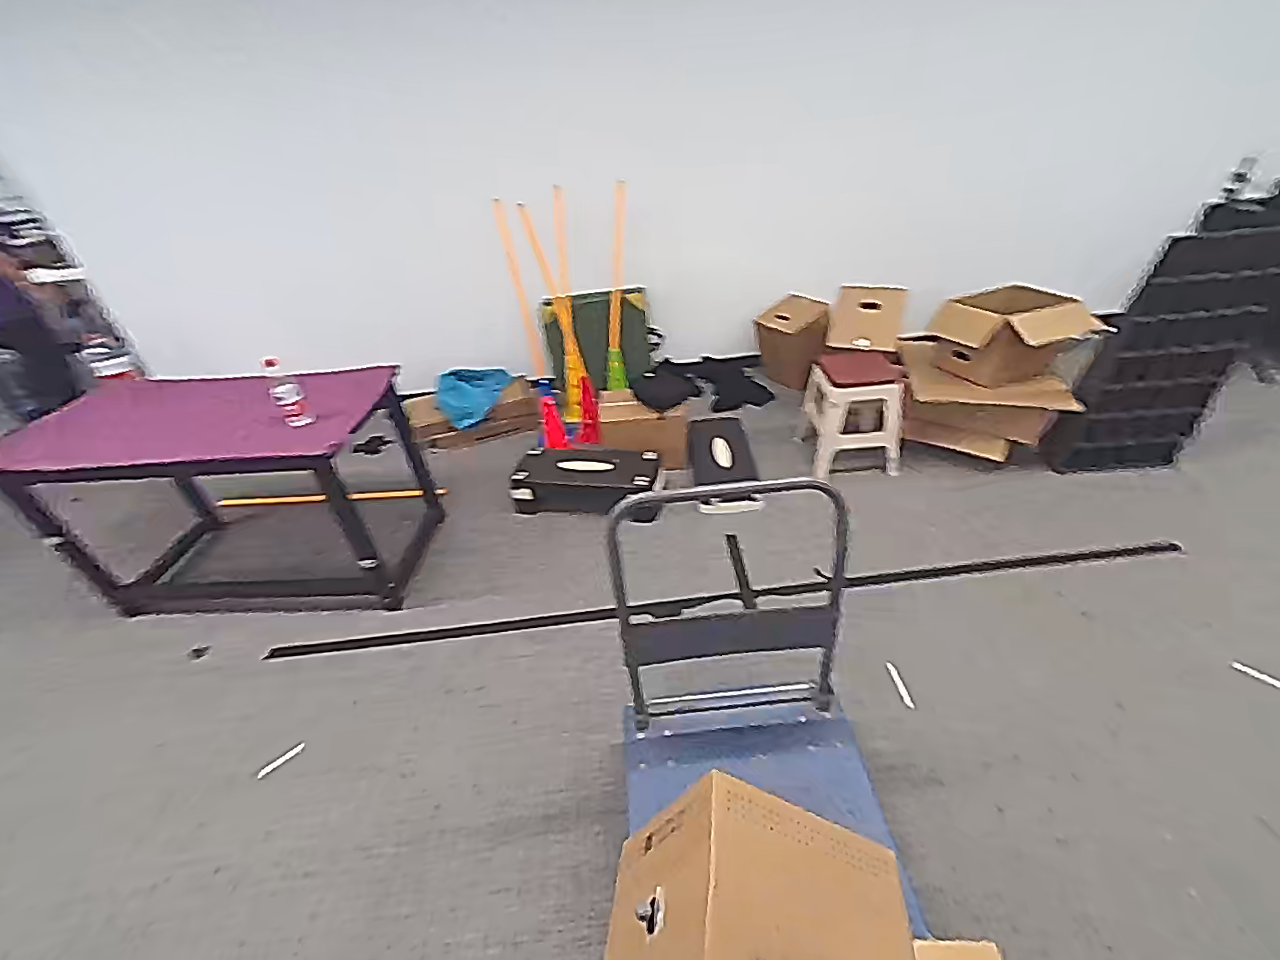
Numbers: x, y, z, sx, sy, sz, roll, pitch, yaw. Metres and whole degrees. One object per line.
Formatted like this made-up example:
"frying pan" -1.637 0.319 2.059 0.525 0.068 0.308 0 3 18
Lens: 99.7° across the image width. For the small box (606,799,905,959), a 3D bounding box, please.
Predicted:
"small box" 0.079 0.373 0.405 0.179 0.168 0.176 27 33 -8
